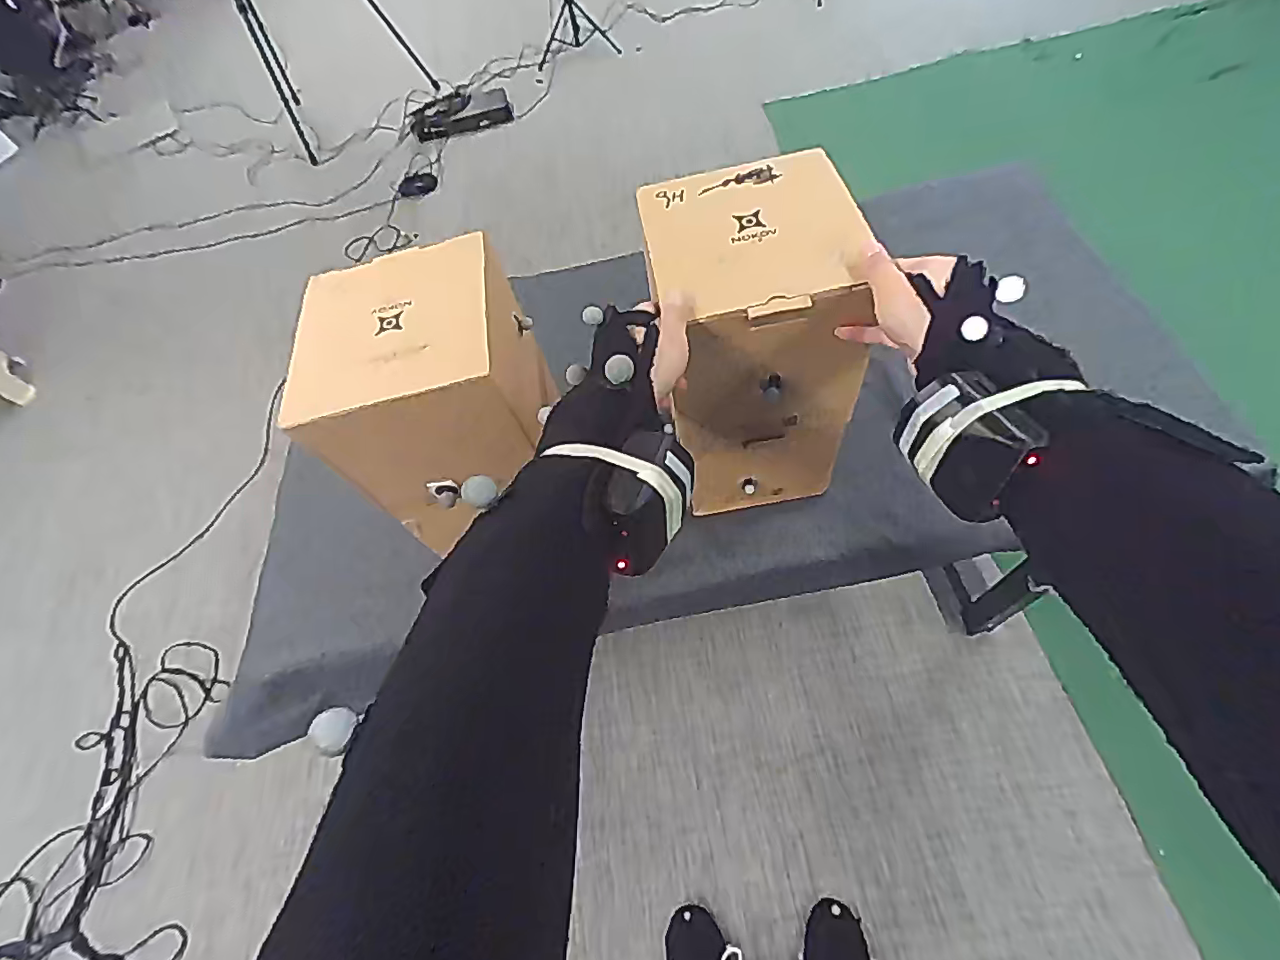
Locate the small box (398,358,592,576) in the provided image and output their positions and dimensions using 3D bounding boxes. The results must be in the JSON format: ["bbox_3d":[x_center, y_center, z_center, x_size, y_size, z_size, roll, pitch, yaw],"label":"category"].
[{"bbox_3d":[-0.161,-0.009,0.637,0.168,0.176,0.179,-13,60,2],"label":"small box"}]

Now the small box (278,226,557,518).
[{"bbox_3d":[-0.185,-0.090,0.498,0.168,0.176,0.179,-15,60,3],"label":"small box"}]

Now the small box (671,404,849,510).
[{"bbox_3d":[0.122,-0.088,0.635,0.168,0.176,0.179,-11,59,3],"label":"small box"}]

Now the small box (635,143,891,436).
[{"bbox_3d":[0.097,-0.155,0.486,0.168,0.176,0.179,-11,60,4],"label":"small box"}]
